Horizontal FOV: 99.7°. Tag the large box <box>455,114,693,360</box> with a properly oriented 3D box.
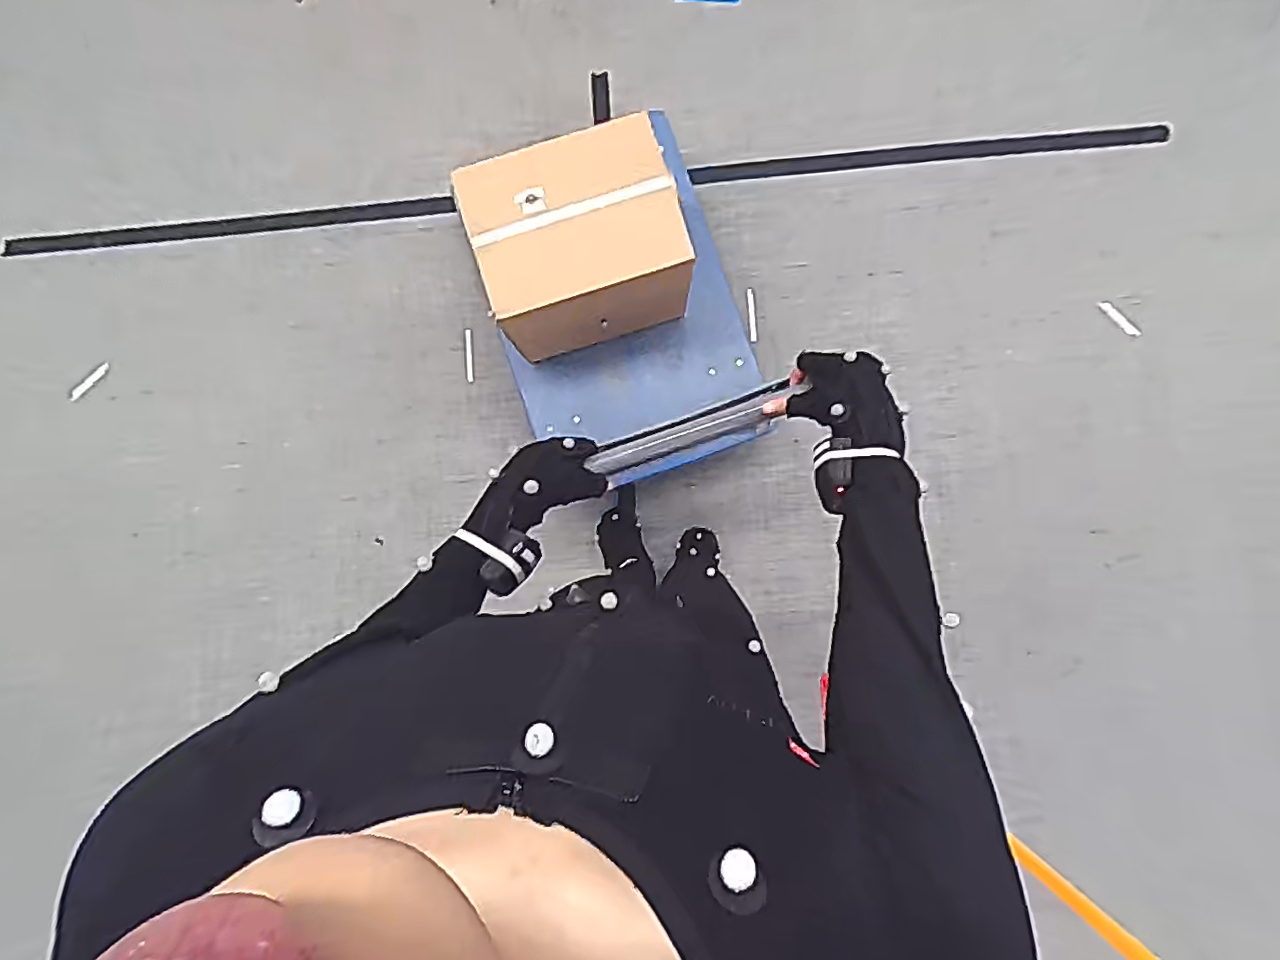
[{"bbox_3d":[-0.125,-0.503,1.196,0.408,0.320,0.320,-18,87,1],"label":"large box"}]

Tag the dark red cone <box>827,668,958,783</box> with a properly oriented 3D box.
[{"bbox_3d":[0.593,0.584,1.238,0.201,0.394,0.202,-4,87,-1],"label":"dark red cone"}]
